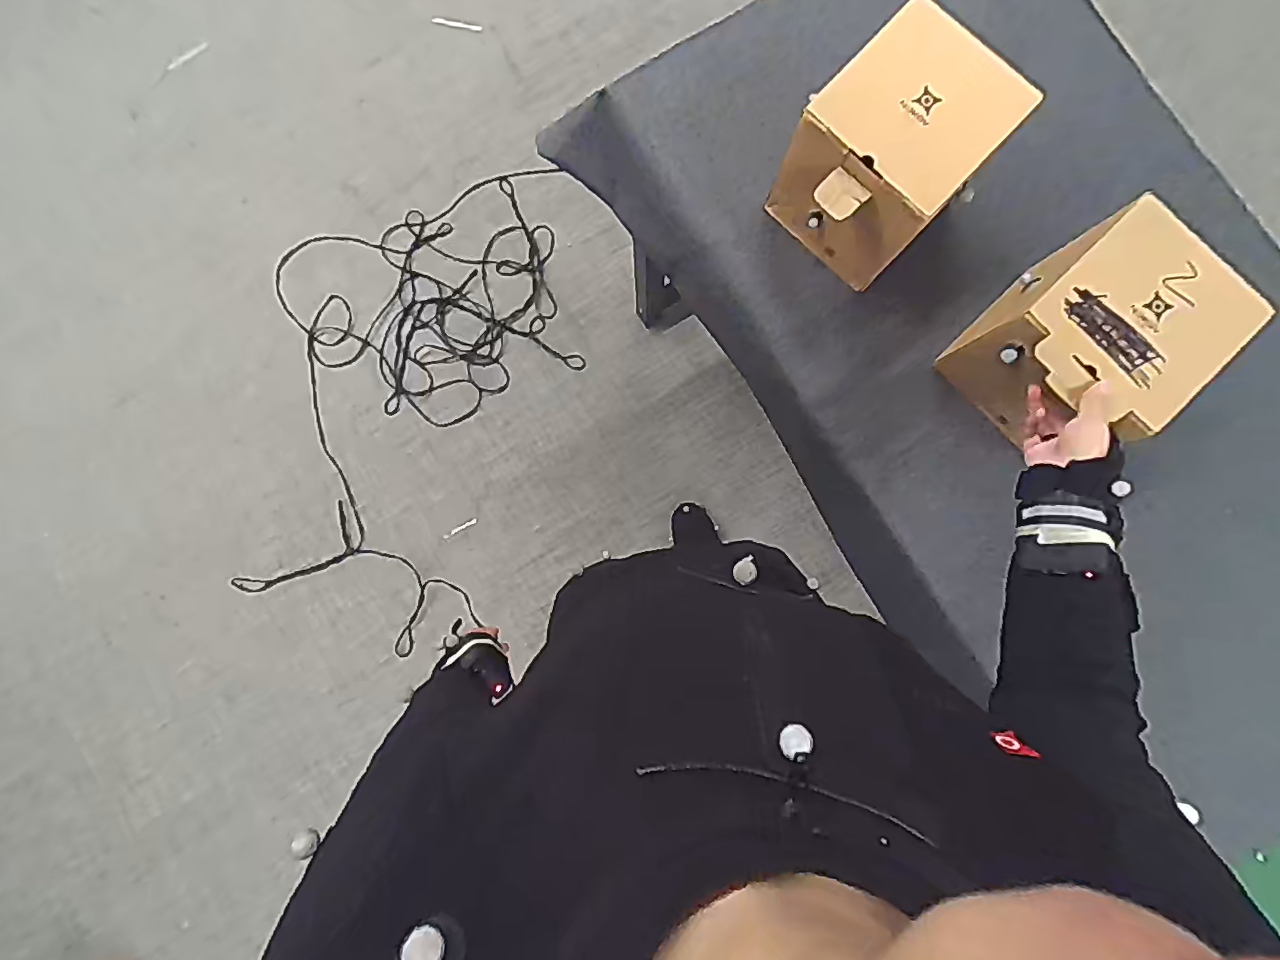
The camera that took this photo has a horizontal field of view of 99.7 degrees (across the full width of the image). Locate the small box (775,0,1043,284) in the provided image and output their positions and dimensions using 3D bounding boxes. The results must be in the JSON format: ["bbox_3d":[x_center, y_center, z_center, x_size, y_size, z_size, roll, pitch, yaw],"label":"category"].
[{"bbox_3d":[0.278,-0.362,0.607,0.168,0.176,0.179,43,87,3],"label":"small box"}]
